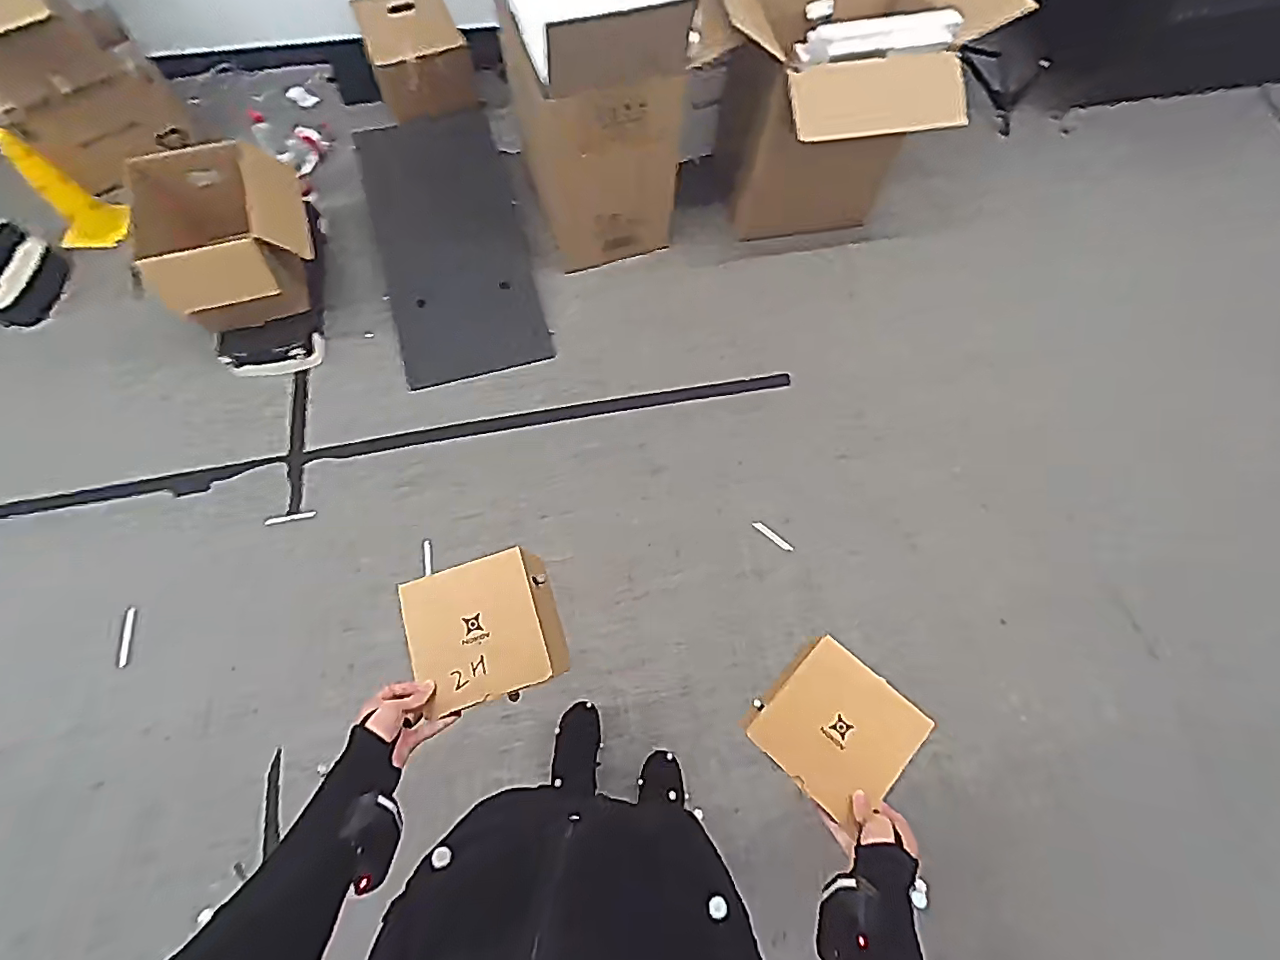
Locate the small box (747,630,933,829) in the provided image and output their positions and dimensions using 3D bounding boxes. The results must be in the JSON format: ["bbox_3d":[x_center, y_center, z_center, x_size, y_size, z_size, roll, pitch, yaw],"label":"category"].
[{"bbox_3d":[0.264,0.336,0.763,0.168,0.176,0.179,39,81,19],"label":"small box"}]

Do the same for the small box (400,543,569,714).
[{"bbox_3d":[-0.208,0.205,0.760,0.168,0.176,0.179,-18,76,-3],"label":"small box"}]
